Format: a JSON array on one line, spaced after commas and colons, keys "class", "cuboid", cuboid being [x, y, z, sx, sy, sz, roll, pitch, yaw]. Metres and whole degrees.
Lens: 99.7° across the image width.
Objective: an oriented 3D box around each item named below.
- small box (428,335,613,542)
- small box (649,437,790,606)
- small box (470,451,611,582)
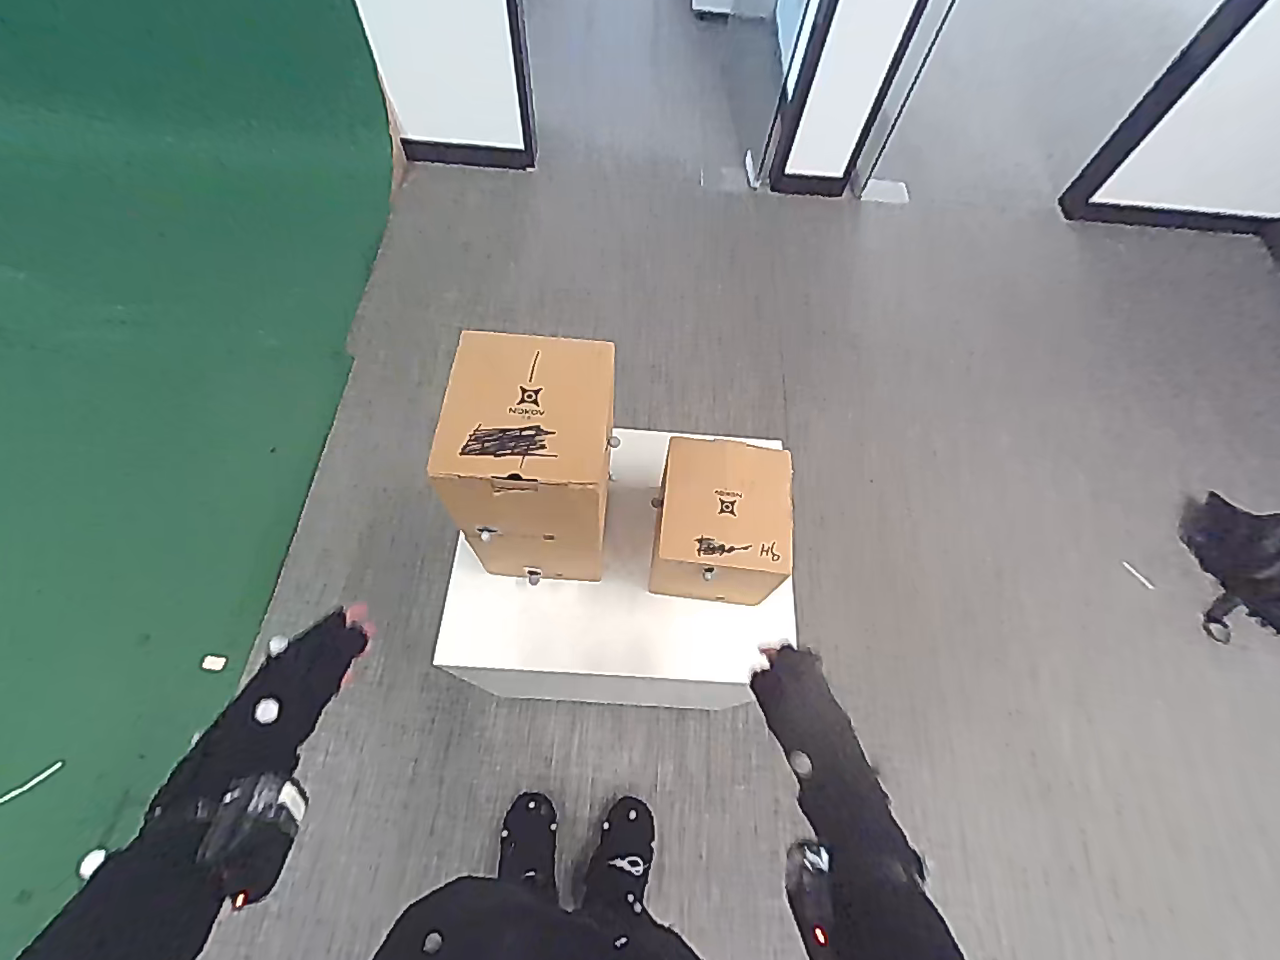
[{"class": "small box", "cuboid": [-0.119, -0.038, 0.620, 0.168, 0.176, 0.179, 4, 63, -1]}, {"class": "small box", "cuboid": [0.106, 0.064, 0.767, 0.168, 0.176, 0.179, 8, 63, 0]}, {"class": "small box", "cuboid": [-0.129, 0.035, 0.768, 0.168, 0.176, 0.179, 3, 65, -2]}]
